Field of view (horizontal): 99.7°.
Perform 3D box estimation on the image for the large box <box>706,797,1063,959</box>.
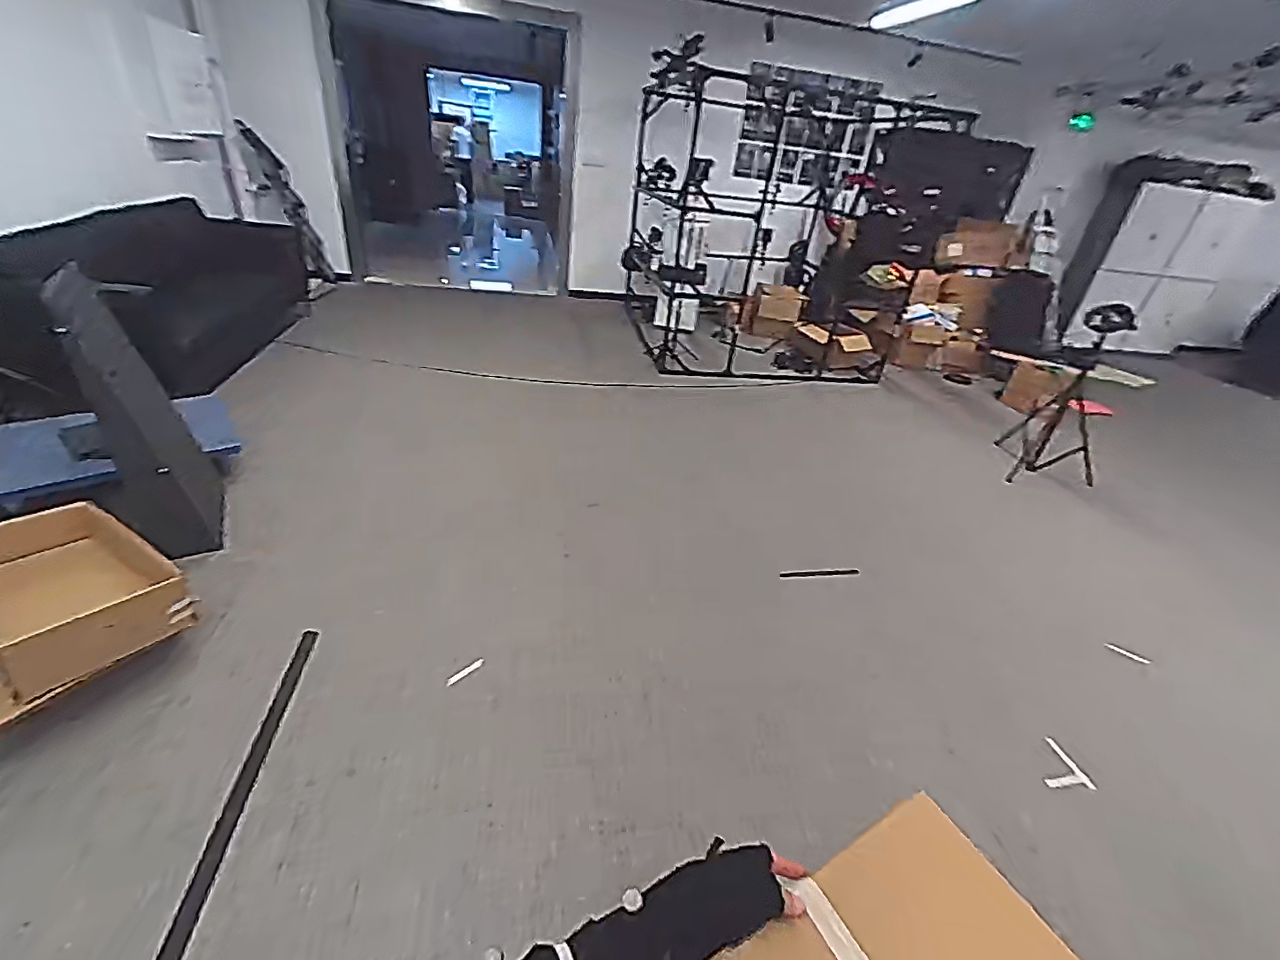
[{"bbox_3d":[0.227,0.572,0.425,0.320,0.320,0.408,-18,43,-25],"label":"large box"}]
